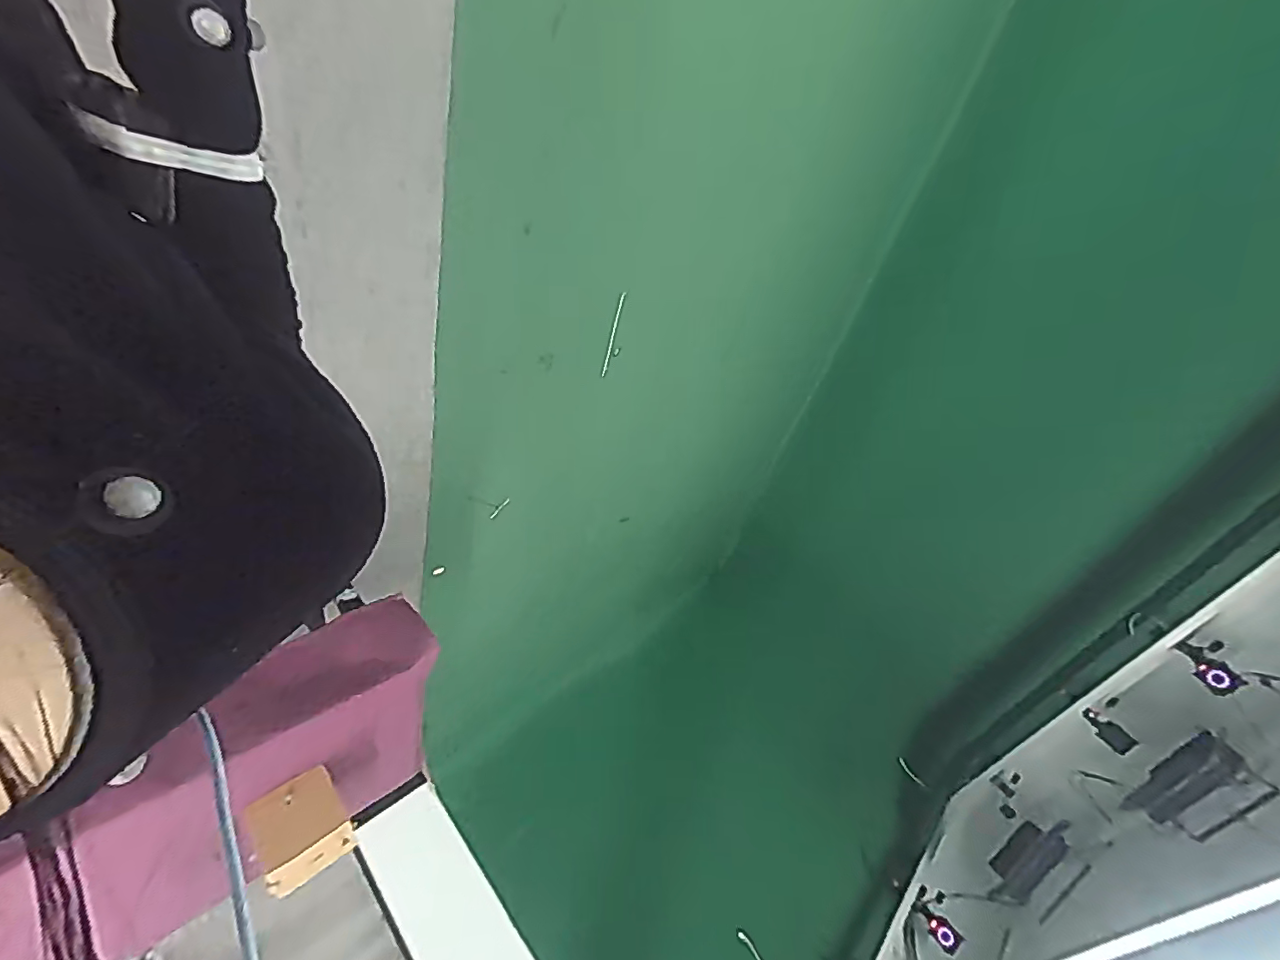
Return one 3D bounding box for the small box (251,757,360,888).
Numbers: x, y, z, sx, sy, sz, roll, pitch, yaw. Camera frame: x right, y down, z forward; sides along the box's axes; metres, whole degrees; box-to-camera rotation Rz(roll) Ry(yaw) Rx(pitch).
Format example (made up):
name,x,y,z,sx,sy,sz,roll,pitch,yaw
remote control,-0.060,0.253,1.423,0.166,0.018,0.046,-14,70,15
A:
name,x,y,z,sx,sy,sz,roll,pitch,yaw
small box,-0.803,0.816,1.298,0.179,0.176,0.168,-23,142,-39
